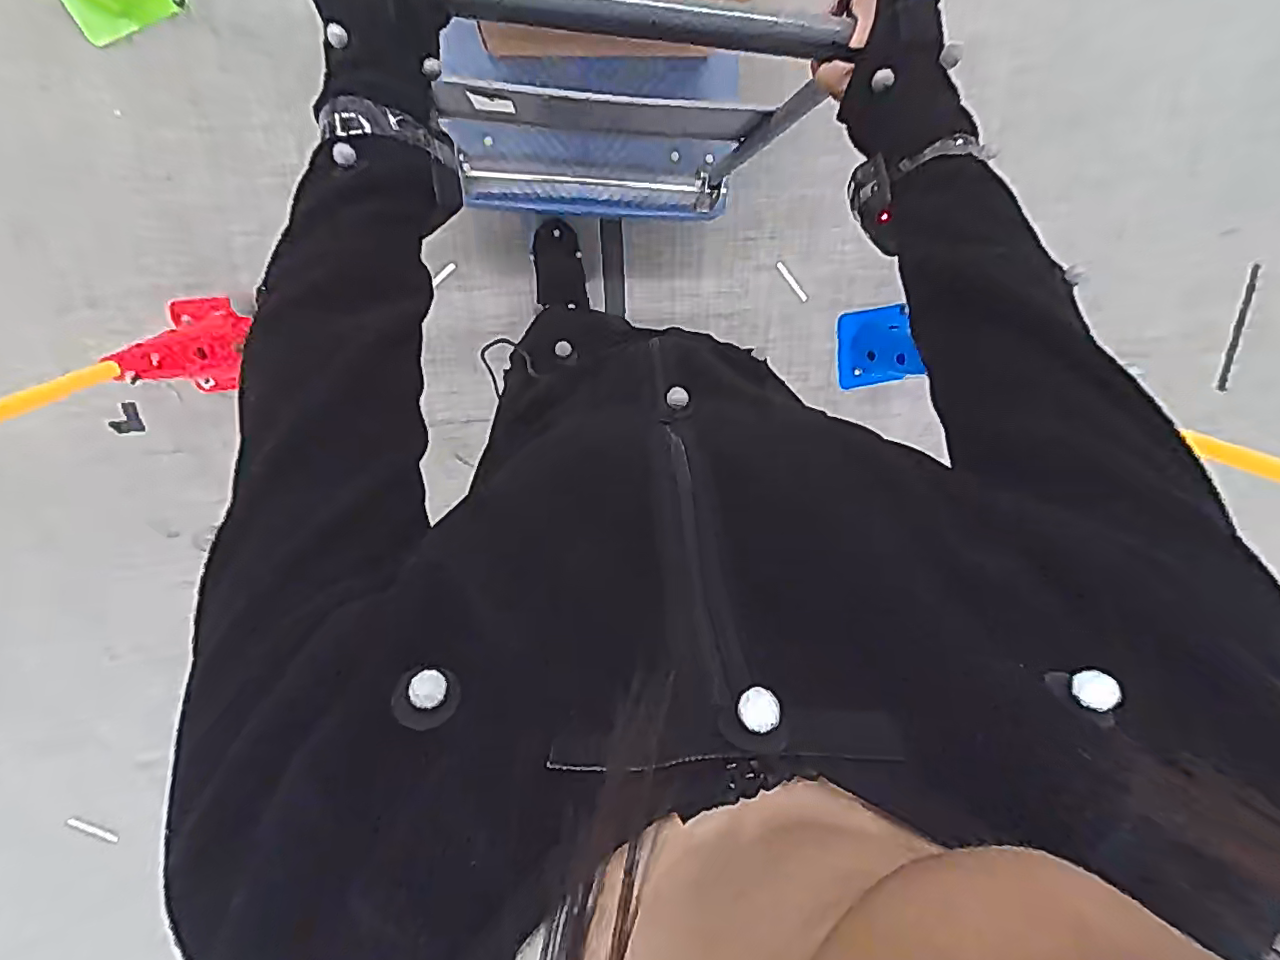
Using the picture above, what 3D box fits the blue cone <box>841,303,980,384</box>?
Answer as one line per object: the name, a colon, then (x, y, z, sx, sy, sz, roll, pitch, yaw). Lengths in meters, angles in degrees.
blue cone: (0.648, -0.305, 1.273, 0.193, 0.380, 0.192, -10, 110, -6)
